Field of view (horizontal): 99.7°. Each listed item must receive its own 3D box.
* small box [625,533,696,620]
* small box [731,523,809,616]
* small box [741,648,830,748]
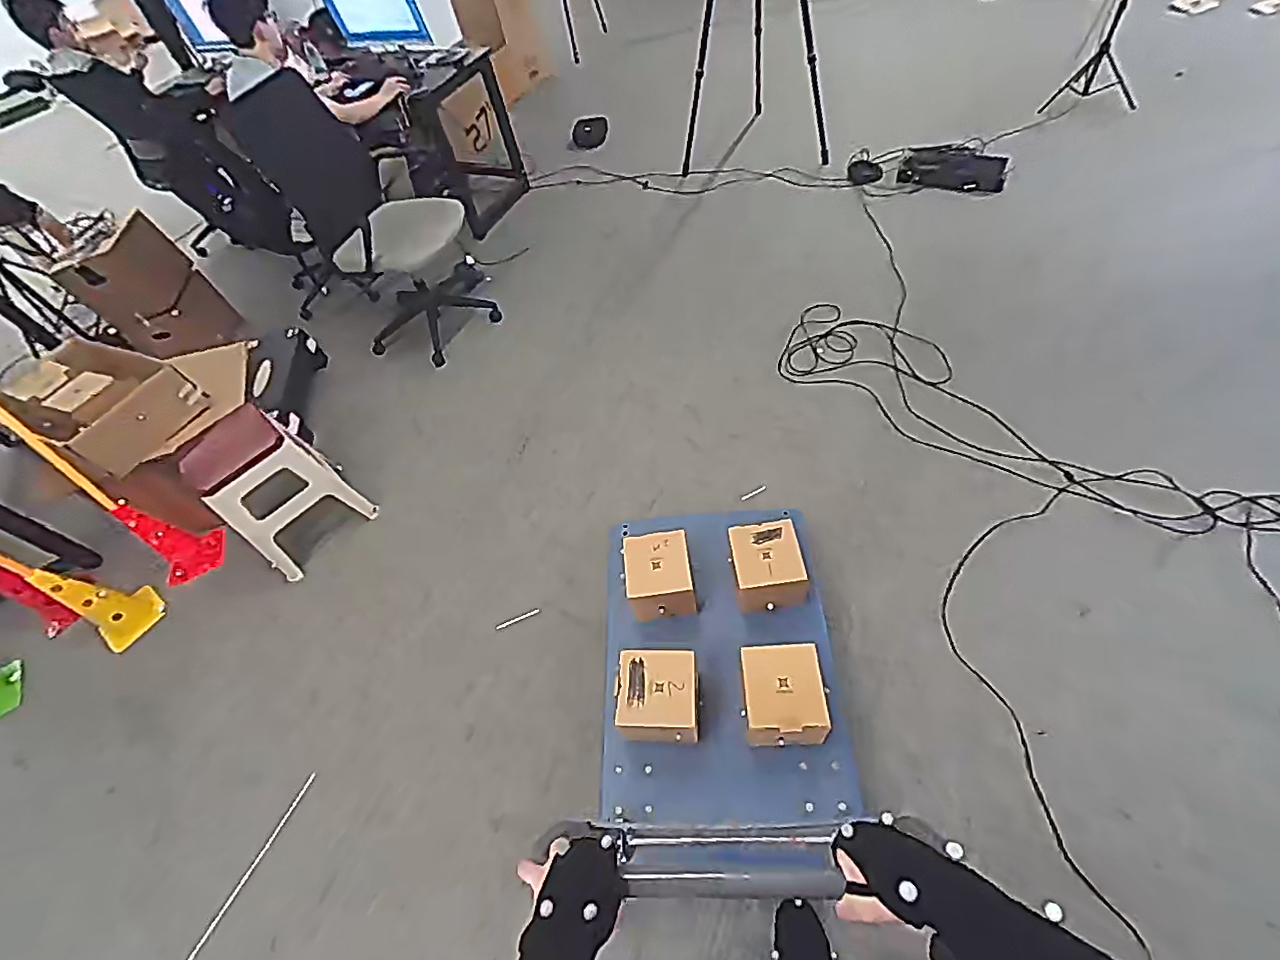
[{"bbox_3d":[0.055,0.263,1.436,0.168,0.176,0.179,-7,54,4],"label":"small box"},{"bbox_3d":[0.329,0.235,1.407,0.168,0.176,0.179,-8,55,5],"label":"small box"},{"bbox_3d":[0.319,0.495,1.223,0.168,0.176,0.179,-5,54,6],"label":"small box"}]
